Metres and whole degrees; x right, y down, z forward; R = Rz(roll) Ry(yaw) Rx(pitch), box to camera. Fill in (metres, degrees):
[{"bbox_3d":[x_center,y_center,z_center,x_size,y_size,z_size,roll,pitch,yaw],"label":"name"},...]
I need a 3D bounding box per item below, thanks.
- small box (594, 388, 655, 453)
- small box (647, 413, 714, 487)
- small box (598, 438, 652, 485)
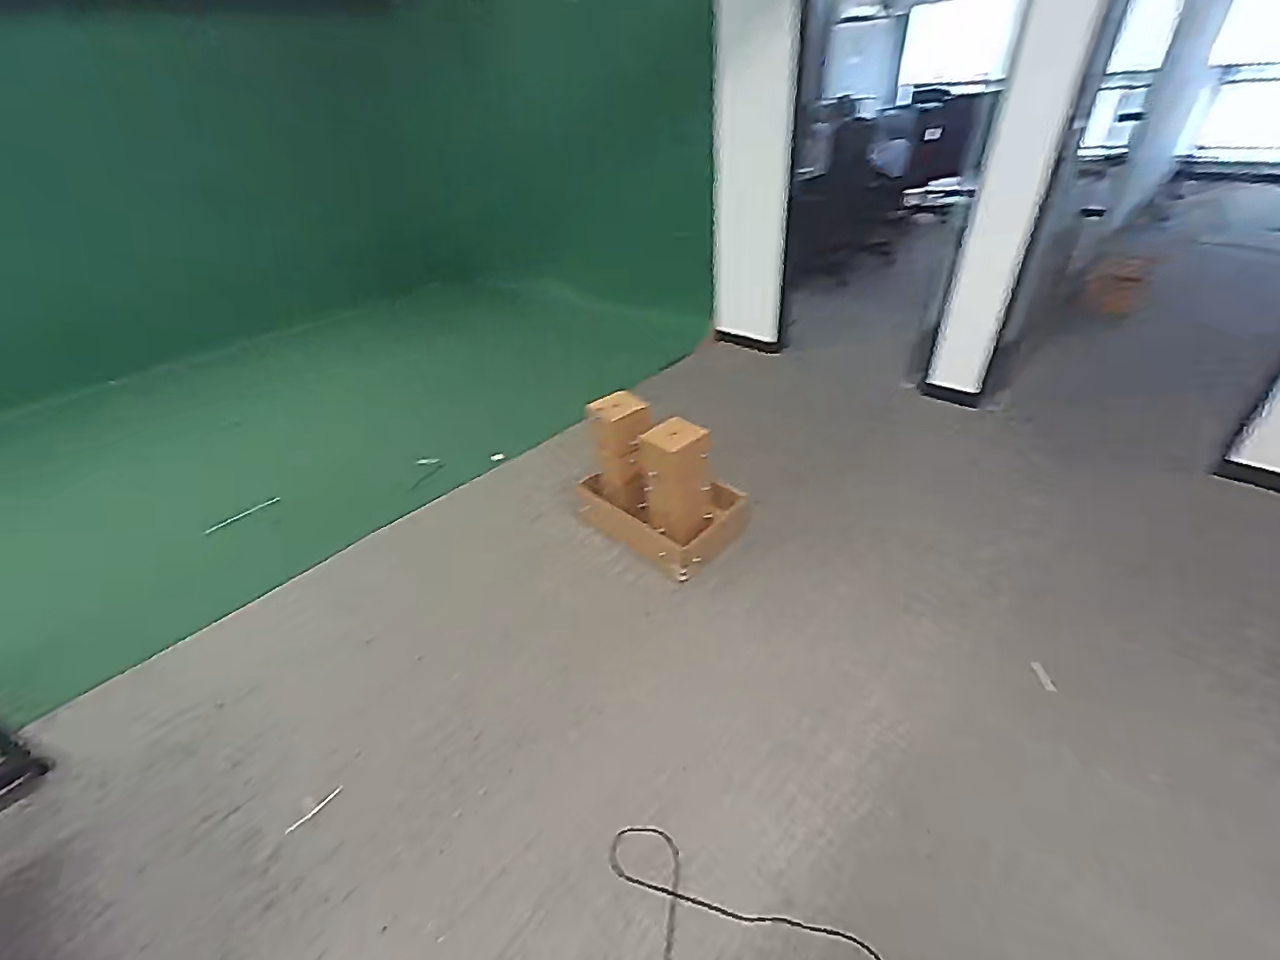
[{"bbox_3d":[-0.058,-0.230,2.090,0.179,0.176,0.168,-27,42,-27],"label":"small box"},{"bbox_3d":[0.144,-0.106,1.907,0.179,0.176,0.168,-32,44,-30],"label":"small box"},{"bbox_3d":[-0.048,-0.104,2.196,0.179,0.176,0.168,-28,44,-28],"label":"small box"}]
